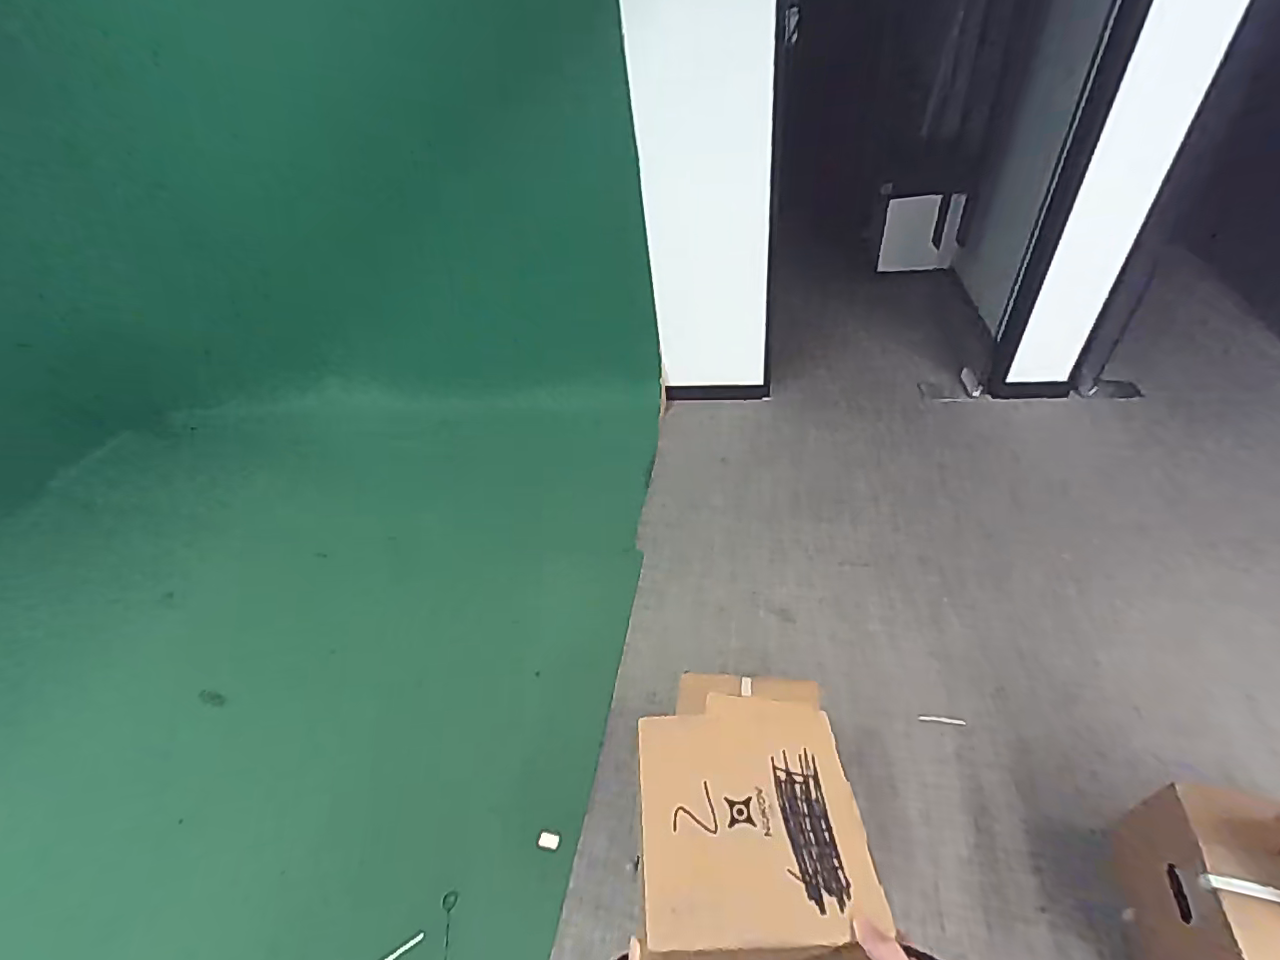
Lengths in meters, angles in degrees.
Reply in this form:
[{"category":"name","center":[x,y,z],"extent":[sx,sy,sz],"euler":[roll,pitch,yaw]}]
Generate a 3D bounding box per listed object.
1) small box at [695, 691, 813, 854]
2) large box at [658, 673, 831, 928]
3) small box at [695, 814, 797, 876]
[{"category":"small box","center":[0.183,0.466,0.861],"extent":[0.168,0.176,0.179],"euler":[3,43,13]},{"category":"large box","center":[0.231,0.701,1.205],"extent":[0.320,0.320,0.408],"euler":[1,43,12]},{"category":"small box","center":[0.197,0.585,0.976],"extent":[0.168,0.176,0.179],"euler":[2,43,13]}]
